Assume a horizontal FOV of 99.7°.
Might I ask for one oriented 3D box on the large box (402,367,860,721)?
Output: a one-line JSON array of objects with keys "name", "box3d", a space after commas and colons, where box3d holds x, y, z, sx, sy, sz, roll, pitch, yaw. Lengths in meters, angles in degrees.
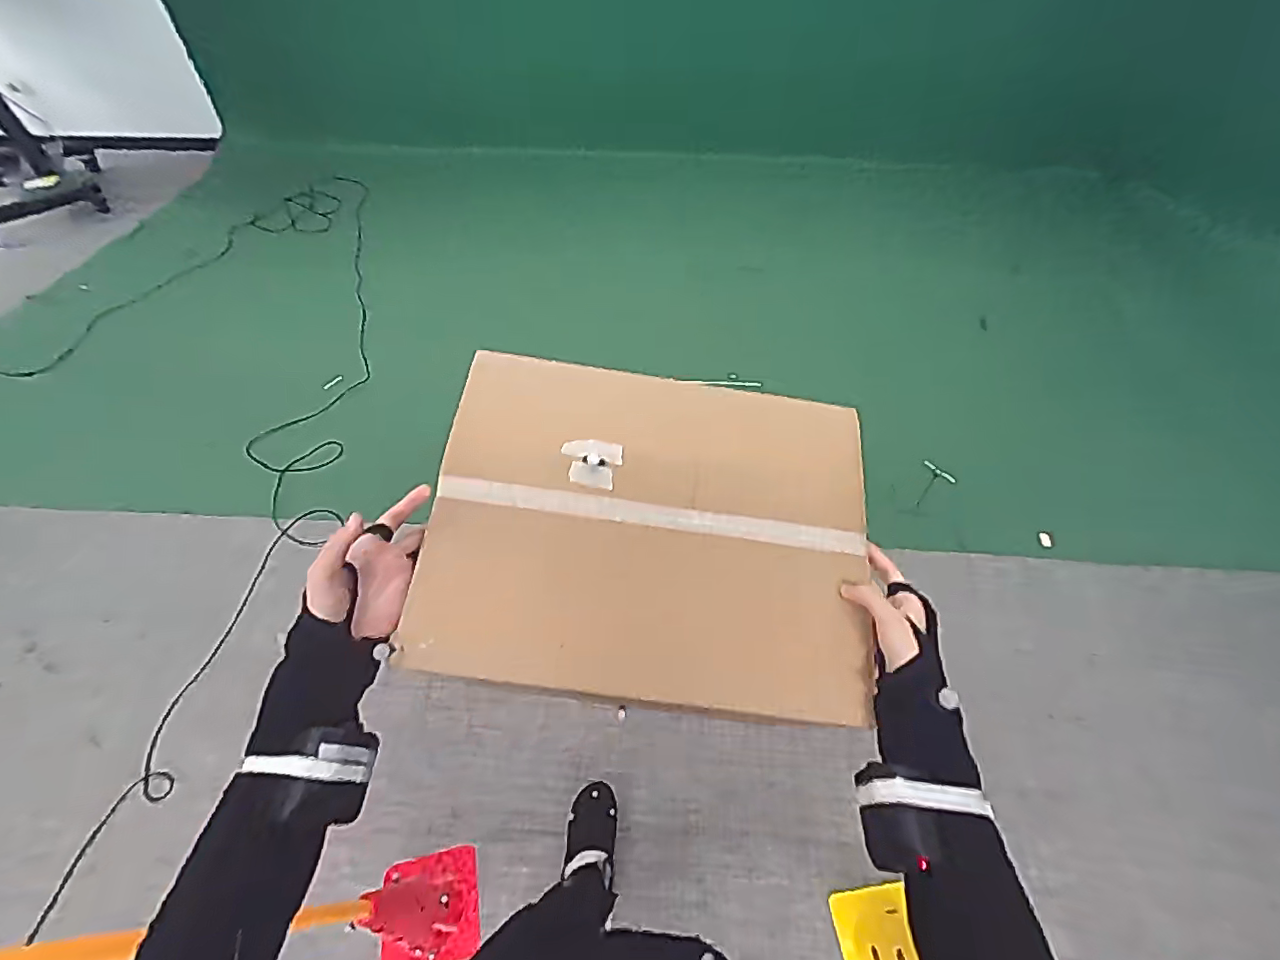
[{"name": "large box", "box3d": [0.001, 0.100, 0.656, 0.408, 0.320, 0.320, 8, 66, -1]}]
